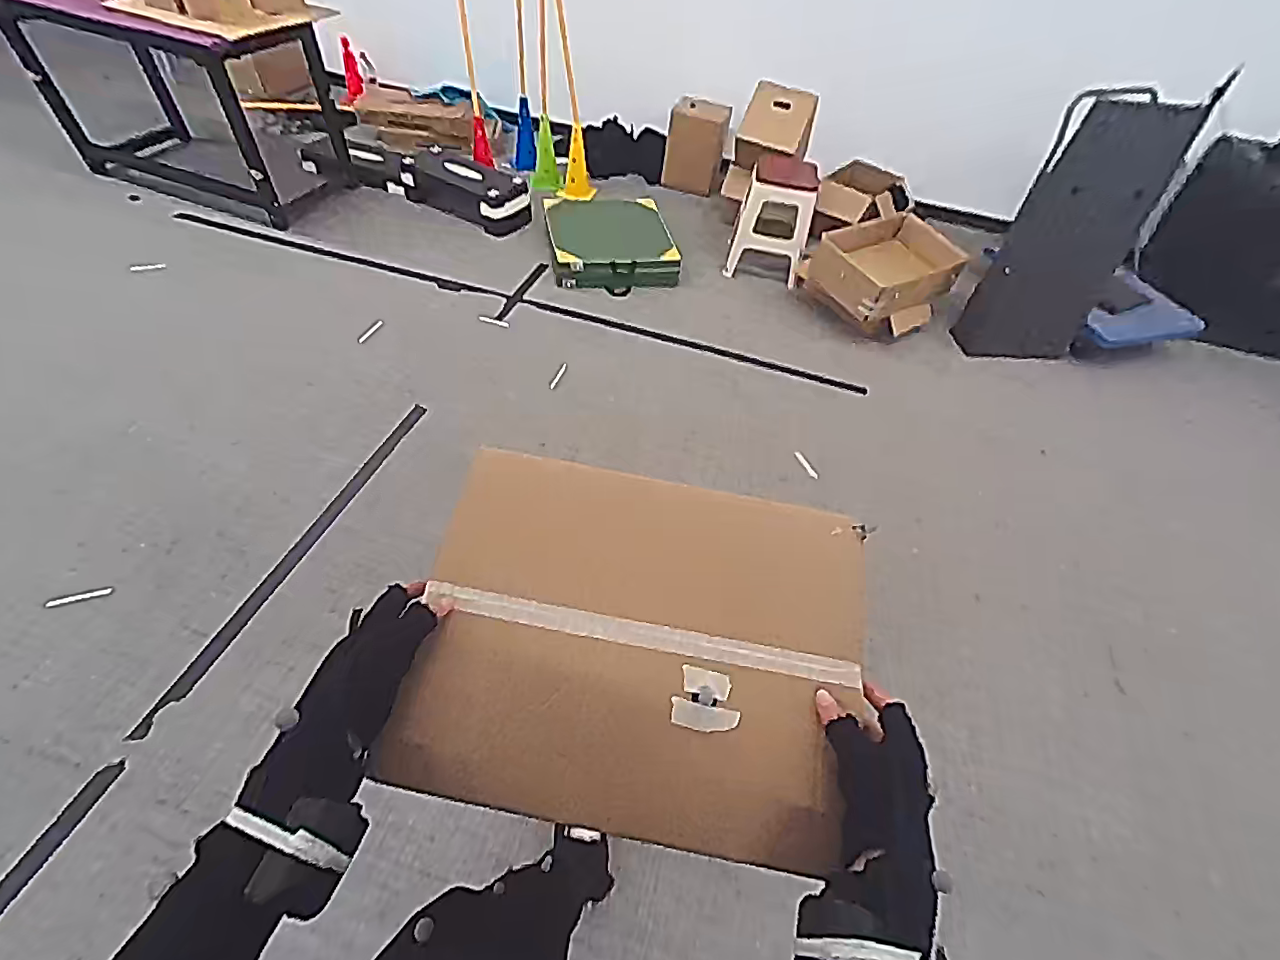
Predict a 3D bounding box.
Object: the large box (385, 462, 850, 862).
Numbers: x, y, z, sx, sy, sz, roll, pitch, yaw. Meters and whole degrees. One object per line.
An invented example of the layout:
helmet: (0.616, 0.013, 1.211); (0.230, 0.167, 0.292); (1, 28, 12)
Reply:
large box: (-0.008, 0.211, 0.650); (0.408, 0.320, 0.320); (11, 66, 2)
